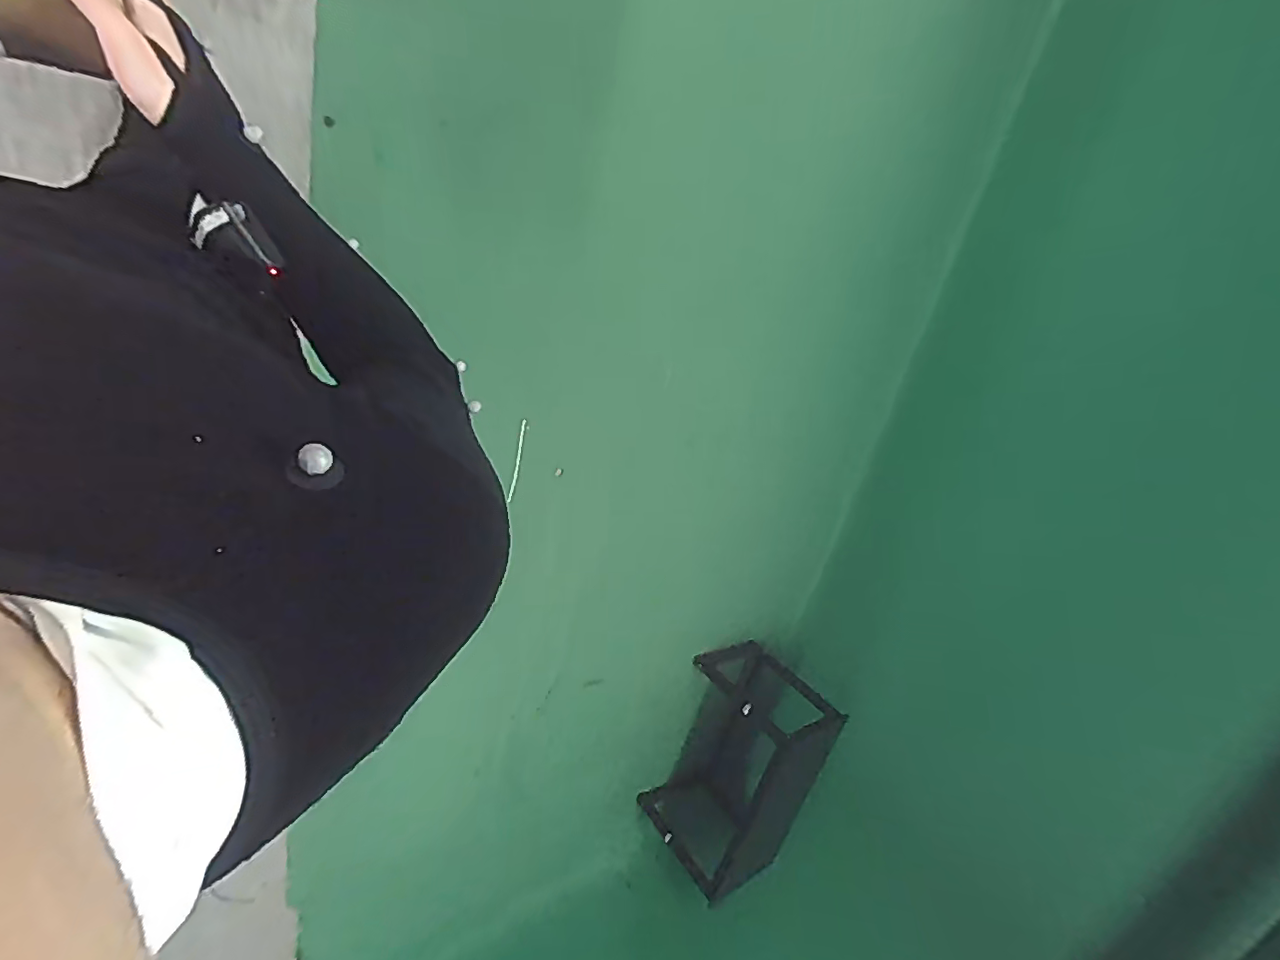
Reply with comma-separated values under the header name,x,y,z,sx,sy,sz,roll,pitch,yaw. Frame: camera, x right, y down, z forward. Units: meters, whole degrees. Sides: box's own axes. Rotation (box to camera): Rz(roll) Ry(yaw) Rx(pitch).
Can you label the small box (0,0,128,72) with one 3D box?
name,x,y,z,sx,sy,sz,roll,pitch,yaw
small box,-0.480,-0.431,0.369,0.168,0.176,0.179,-10,107,-38
